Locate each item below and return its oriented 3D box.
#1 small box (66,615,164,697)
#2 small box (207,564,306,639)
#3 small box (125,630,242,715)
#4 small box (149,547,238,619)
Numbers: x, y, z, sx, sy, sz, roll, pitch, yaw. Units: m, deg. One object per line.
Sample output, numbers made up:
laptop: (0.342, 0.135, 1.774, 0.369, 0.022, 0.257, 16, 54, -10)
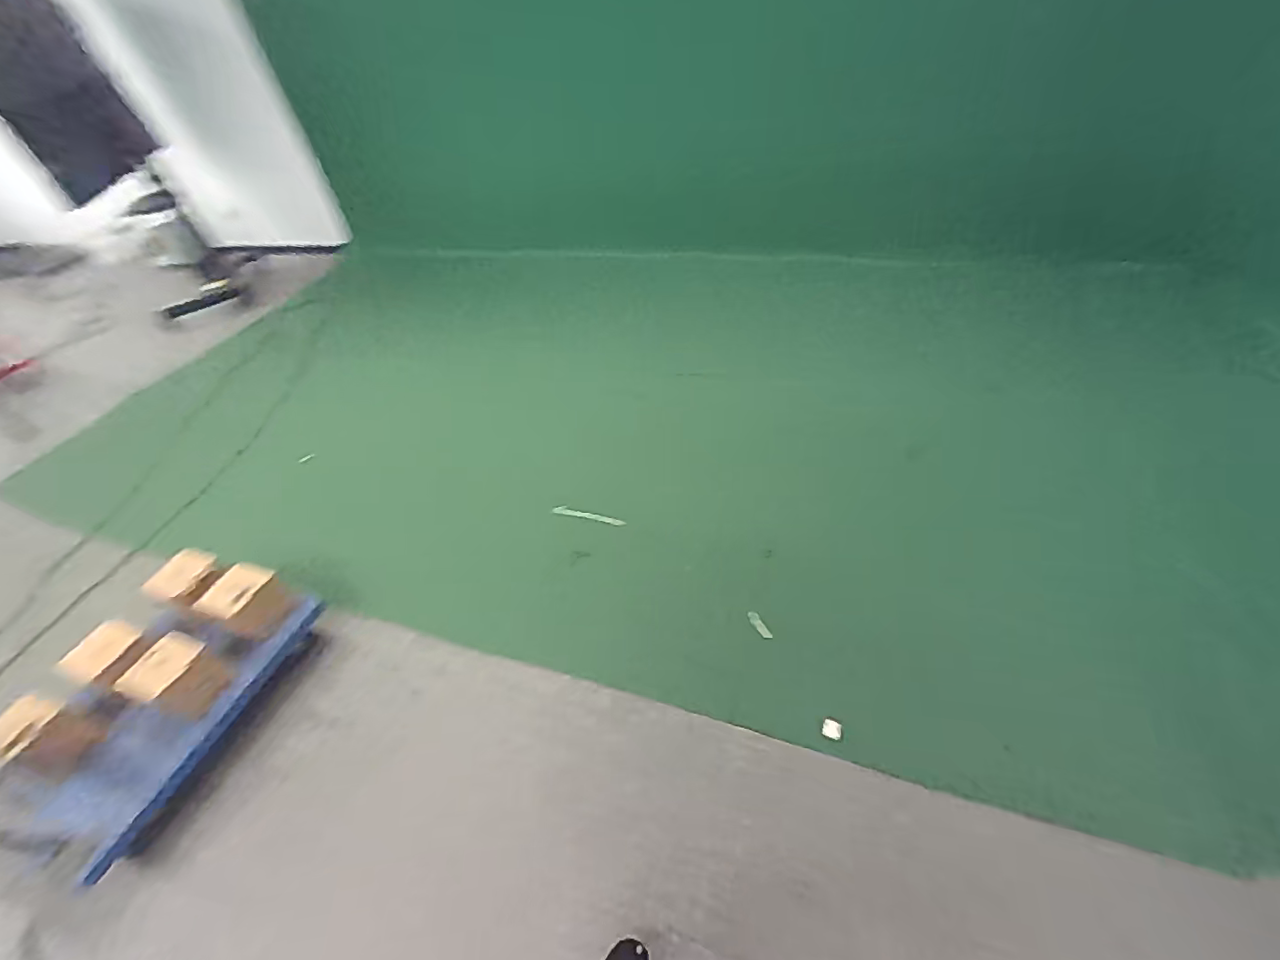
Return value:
small box: (-1.619, 0.560, 1.709, 0.179, 0.176, 0.168, 11, 48, 19)
small box: (-1.275, 0.409, 1.813, 0.179, 0.176, 0.168, 9, 47, 20)
small box: (-1.367, 0.585, 1.633, 0.179, 0.176, 0.168, 11, 48, 20)
small box: (-1.527, 0.361, 1.884, 0.179, 0.176, 0.168, 9, 49, 19)
